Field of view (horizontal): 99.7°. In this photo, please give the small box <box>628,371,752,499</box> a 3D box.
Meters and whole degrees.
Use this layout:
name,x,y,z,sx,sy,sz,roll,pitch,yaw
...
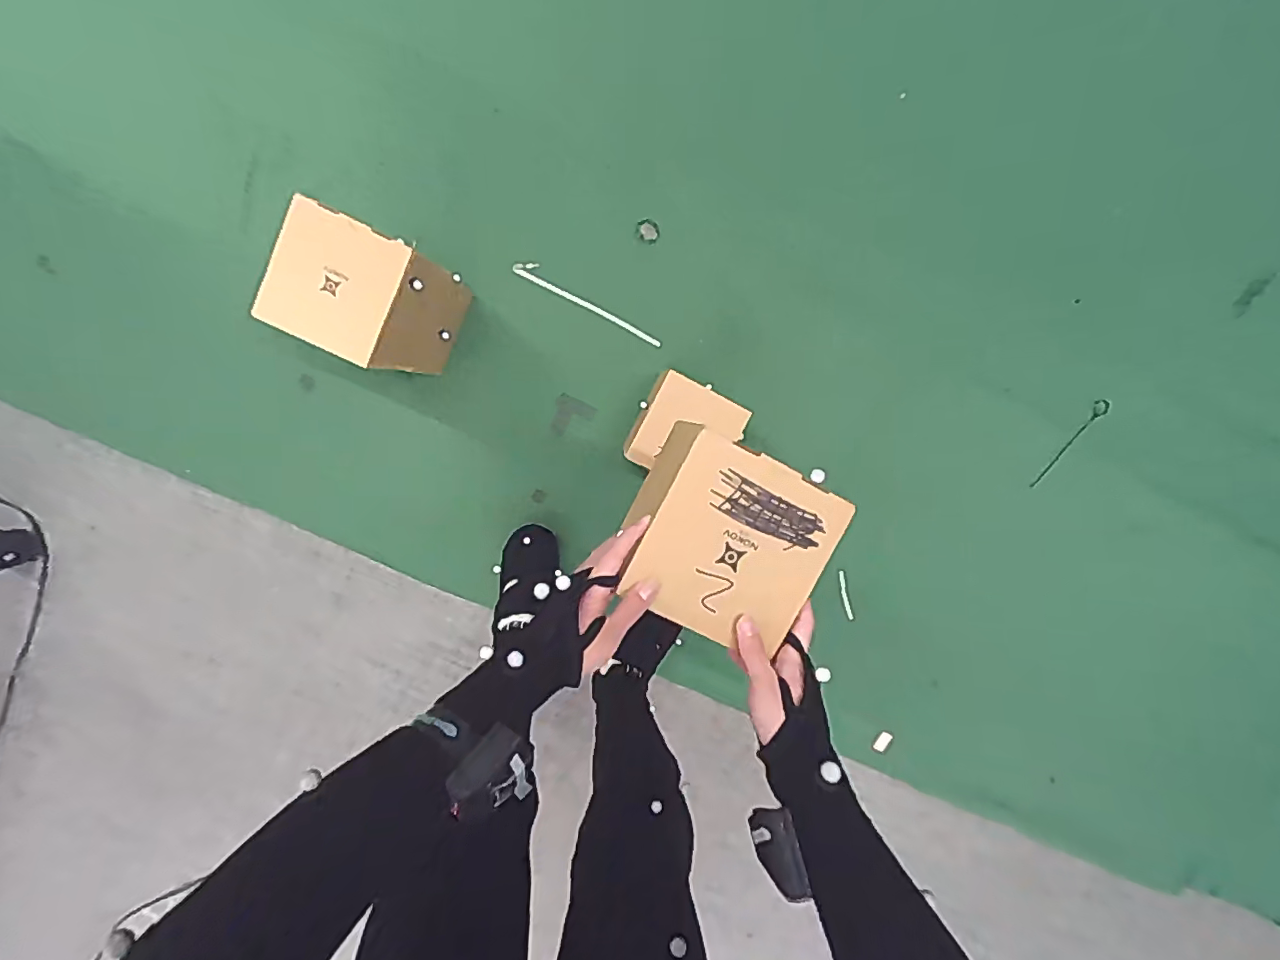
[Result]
name,x,y,z,sx,sy,sz,roll,pitch,yaw
small box,0.082,-0.090,1.022,0.168,0.176,0.179,27,97,-7

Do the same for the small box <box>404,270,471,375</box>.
name,x,y,z,sx,sy,sz,roll,pitch,yaw
small box,-0.420,-0.302,0.963,0.168,0.176,0.179,25,98,-6

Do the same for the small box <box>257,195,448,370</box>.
name,x,y,z,sx,sy,sz,roll,pitch,yaw
small box,-0.411,-0.275,0.804,0.168,0.176,0.179,25,96,-6
